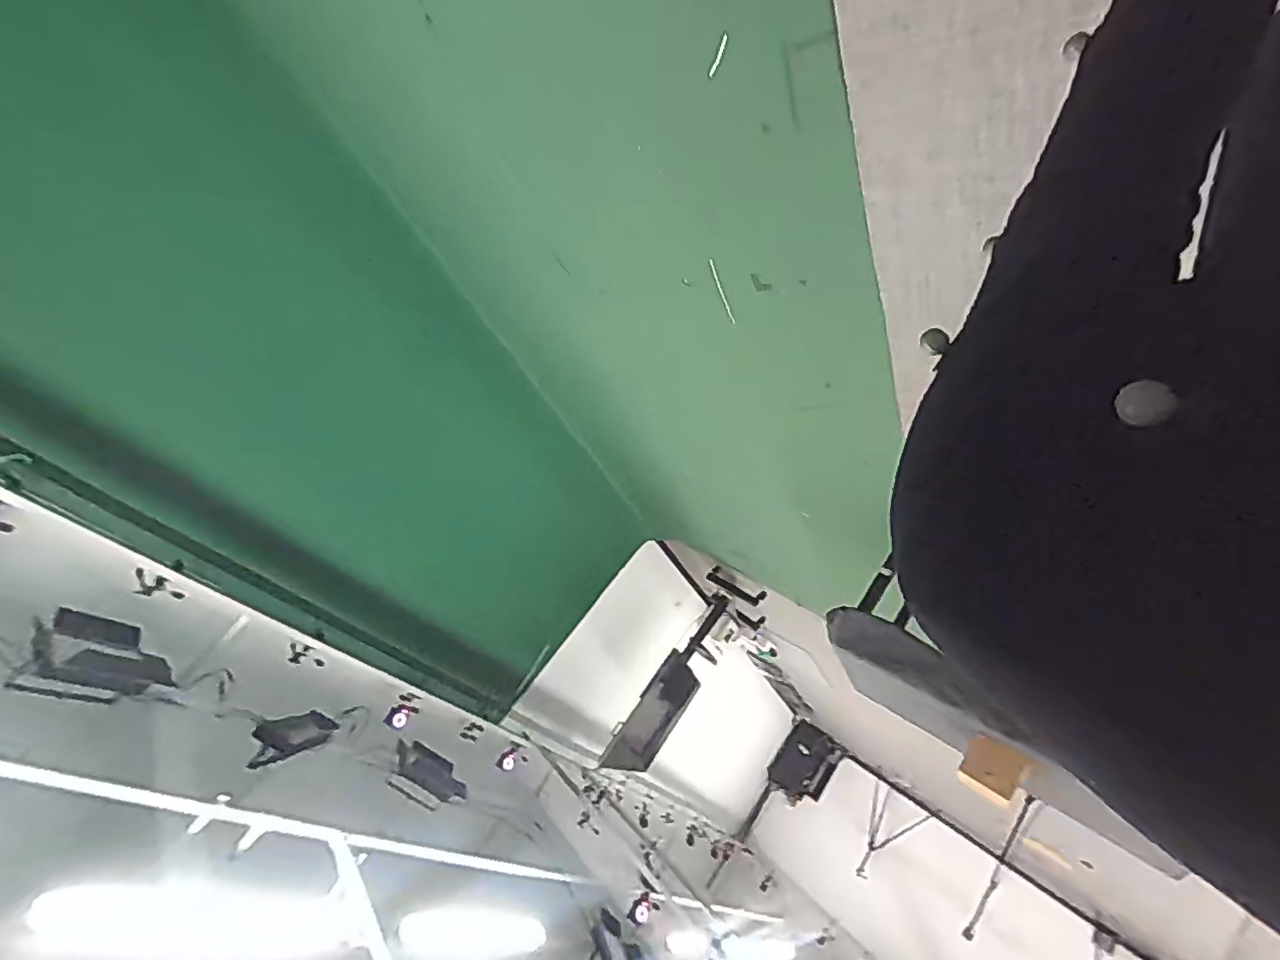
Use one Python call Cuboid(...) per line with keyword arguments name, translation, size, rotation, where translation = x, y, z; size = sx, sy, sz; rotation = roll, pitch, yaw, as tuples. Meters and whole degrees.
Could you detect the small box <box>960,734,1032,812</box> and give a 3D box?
Cuboid(name="small box", translation=(1.310, 1.076, 1.989), size=(0.179, 0.176, 0.168), rotation=(25, 158, 44))
